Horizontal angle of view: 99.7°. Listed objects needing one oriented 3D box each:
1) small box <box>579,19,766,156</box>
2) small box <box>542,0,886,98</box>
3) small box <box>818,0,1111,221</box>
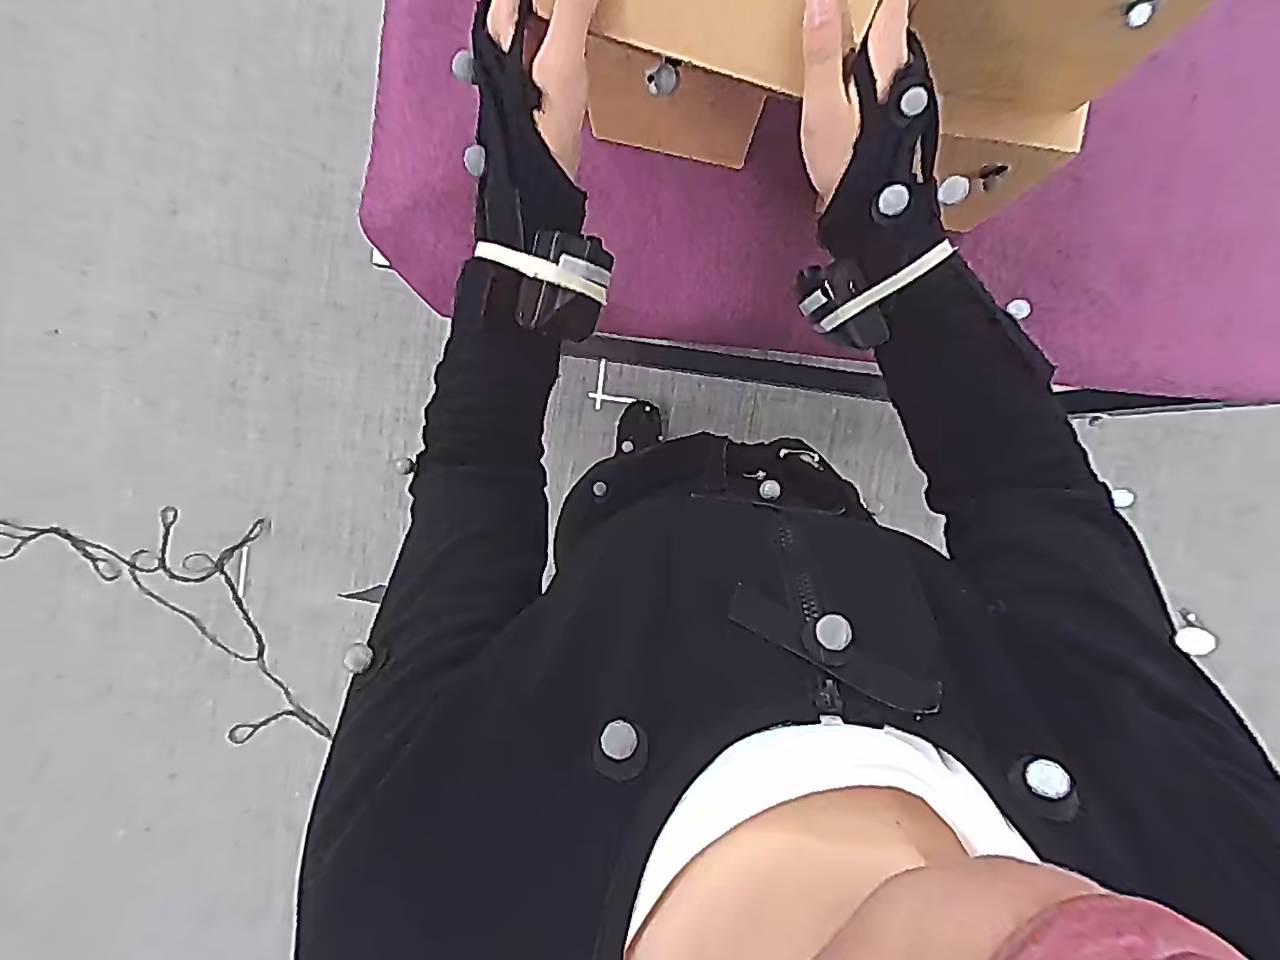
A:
[{"bbox_3d":[0.047,-0.450,0.525,0.179,0.176,0.168,12,94,0],"label":"small box"},{"bbox_3d":[0.048,-0.338,0.299,0.179,0.176,0.168,10,127,-9],"label":"small box"},{"bbox_3d":[0.294,-0.373,0.522,0.179,0.176,0.168,9,93,1],"label":"small box"}]
